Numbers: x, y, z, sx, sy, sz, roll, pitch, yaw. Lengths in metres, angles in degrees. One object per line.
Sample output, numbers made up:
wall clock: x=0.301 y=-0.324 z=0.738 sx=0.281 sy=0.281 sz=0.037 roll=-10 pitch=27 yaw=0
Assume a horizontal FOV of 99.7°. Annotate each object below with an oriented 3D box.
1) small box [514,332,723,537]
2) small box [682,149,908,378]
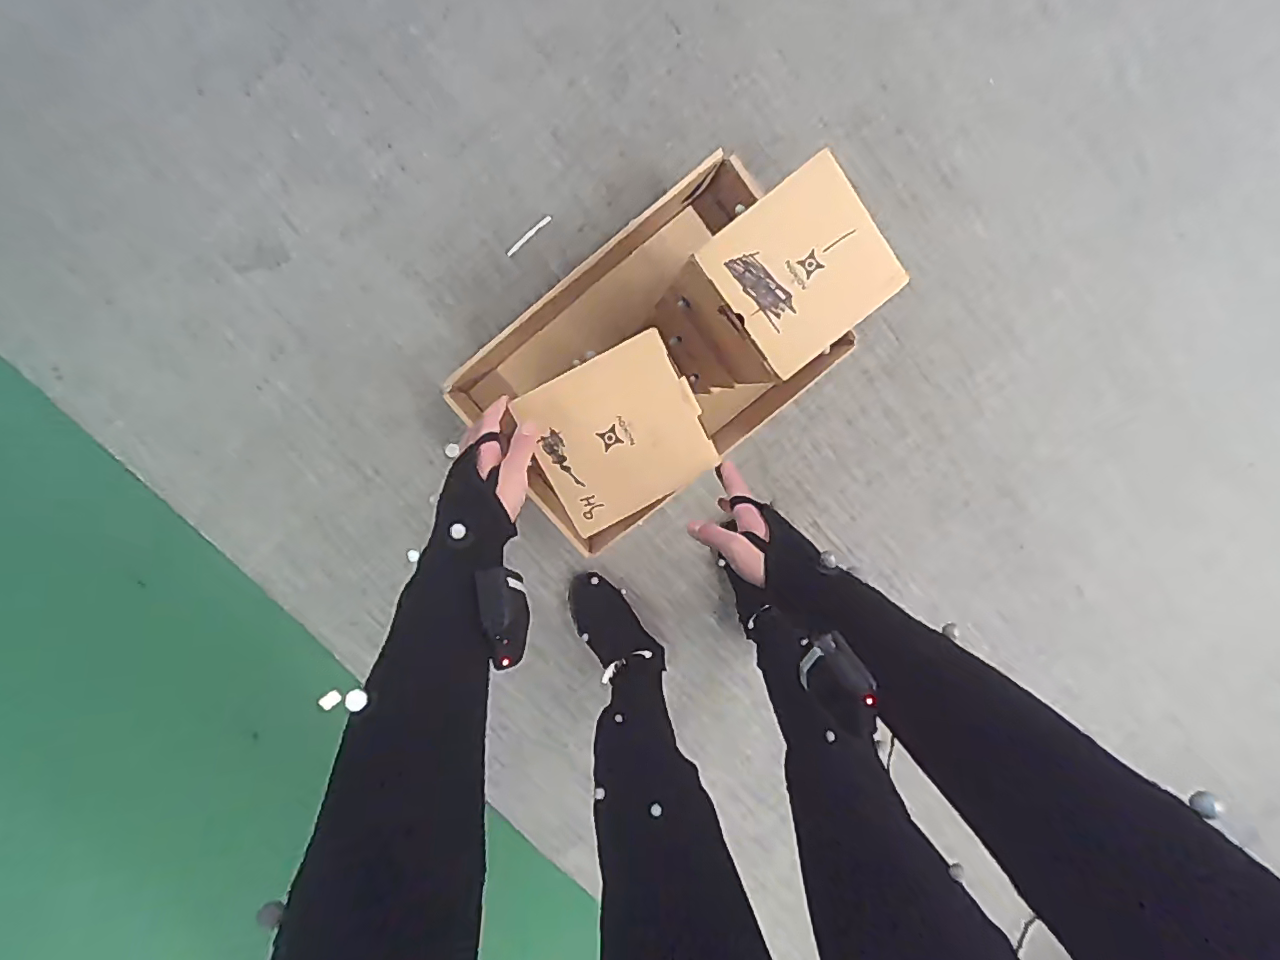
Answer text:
small box: x=-0.030 y=-0.059 z=0.650 sx=0.179 sy=0.176 sz=0.168 roll=-28 pitch=100 yaw=-2
small box: x=0.164 y=-0.234 z=0.641 sx=0.179 sy=0.176 sz=0.168 roll=-38 pitch=100 yaw=2
